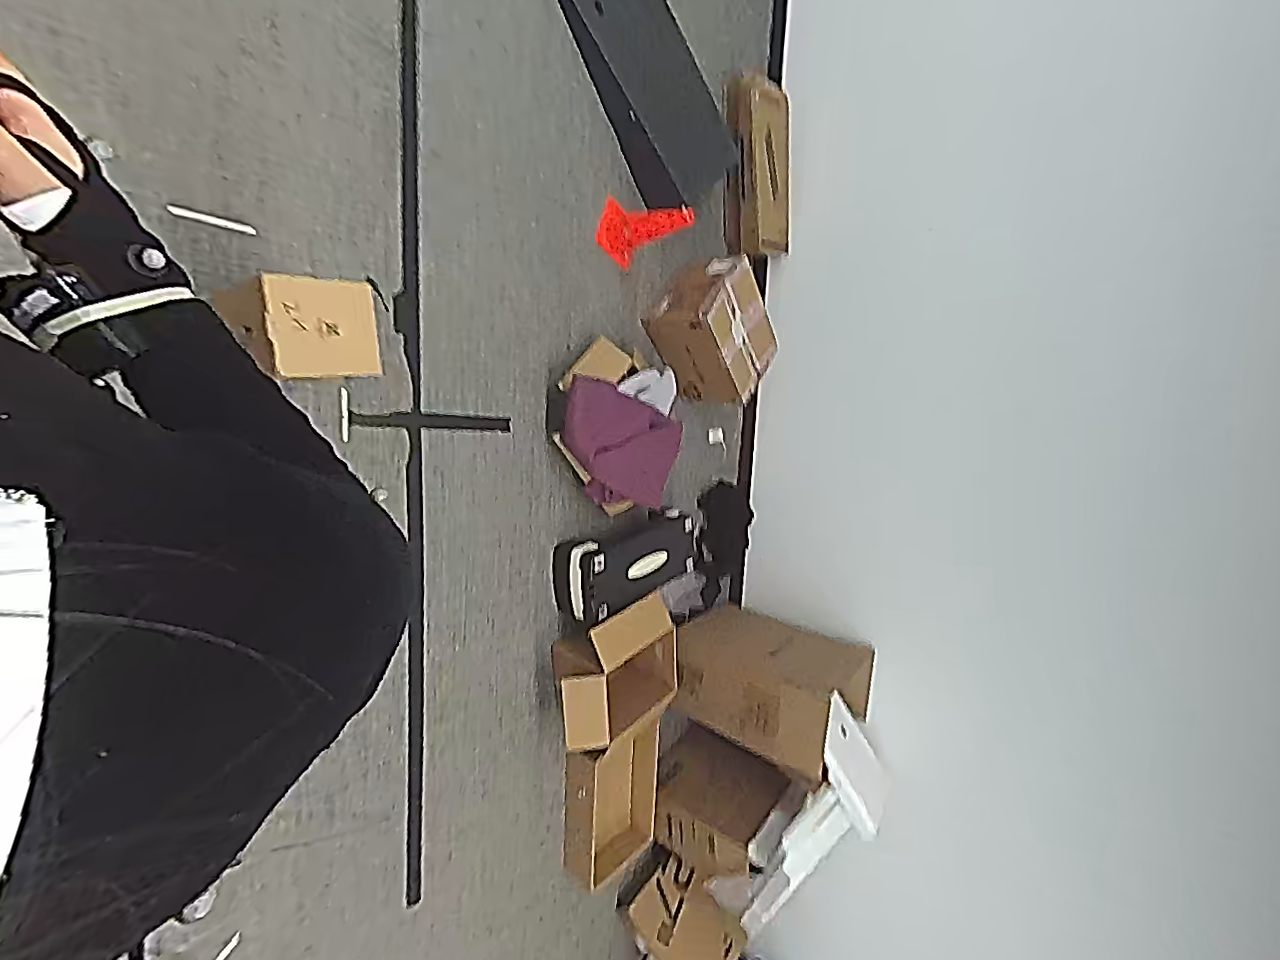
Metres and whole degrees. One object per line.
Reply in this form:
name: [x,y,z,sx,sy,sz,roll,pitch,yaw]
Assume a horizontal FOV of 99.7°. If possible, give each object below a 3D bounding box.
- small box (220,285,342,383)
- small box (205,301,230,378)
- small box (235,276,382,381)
small box: [-0.731,-0.286,1.099,0.179,0.176,0.168,-6,101,-49]
small box: [-0.846,-0.311,1.216,0.179,0.176,0.168,-7,102,-48]
small box: [-0.605,-0.269,0.992,0.179,0.176,0.168,-14,106,-48]
